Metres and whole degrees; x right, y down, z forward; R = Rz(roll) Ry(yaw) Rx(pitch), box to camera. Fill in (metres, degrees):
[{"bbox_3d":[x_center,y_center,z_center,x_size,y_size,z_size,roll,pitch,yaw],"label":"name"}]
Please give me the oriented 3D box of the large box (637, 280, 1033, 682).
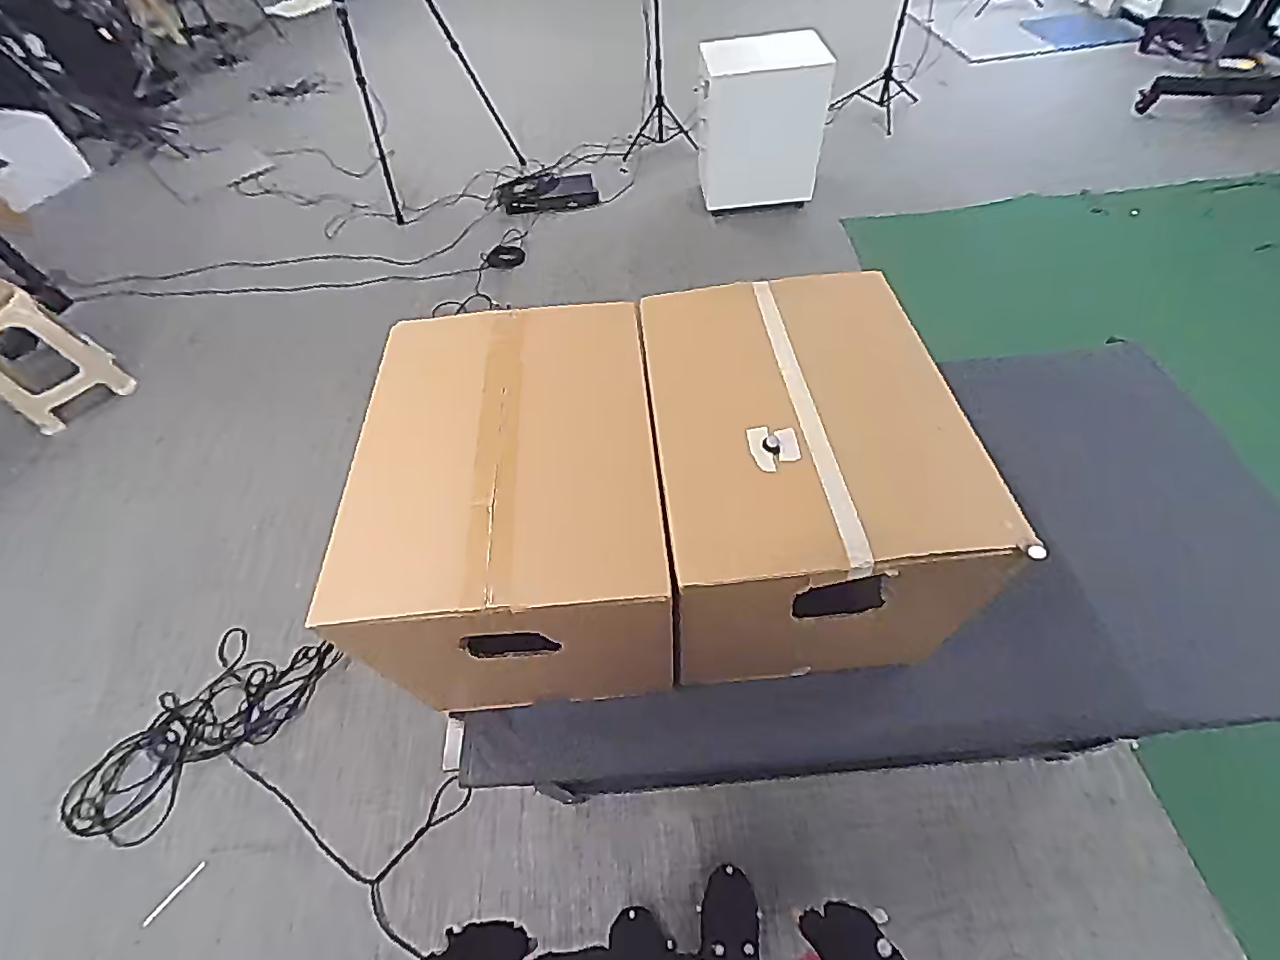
[{"bbox_3d":[0.178,0.004,0.700,0.320,0.320,0.408,-7,55,1],"label":"large box"}]
